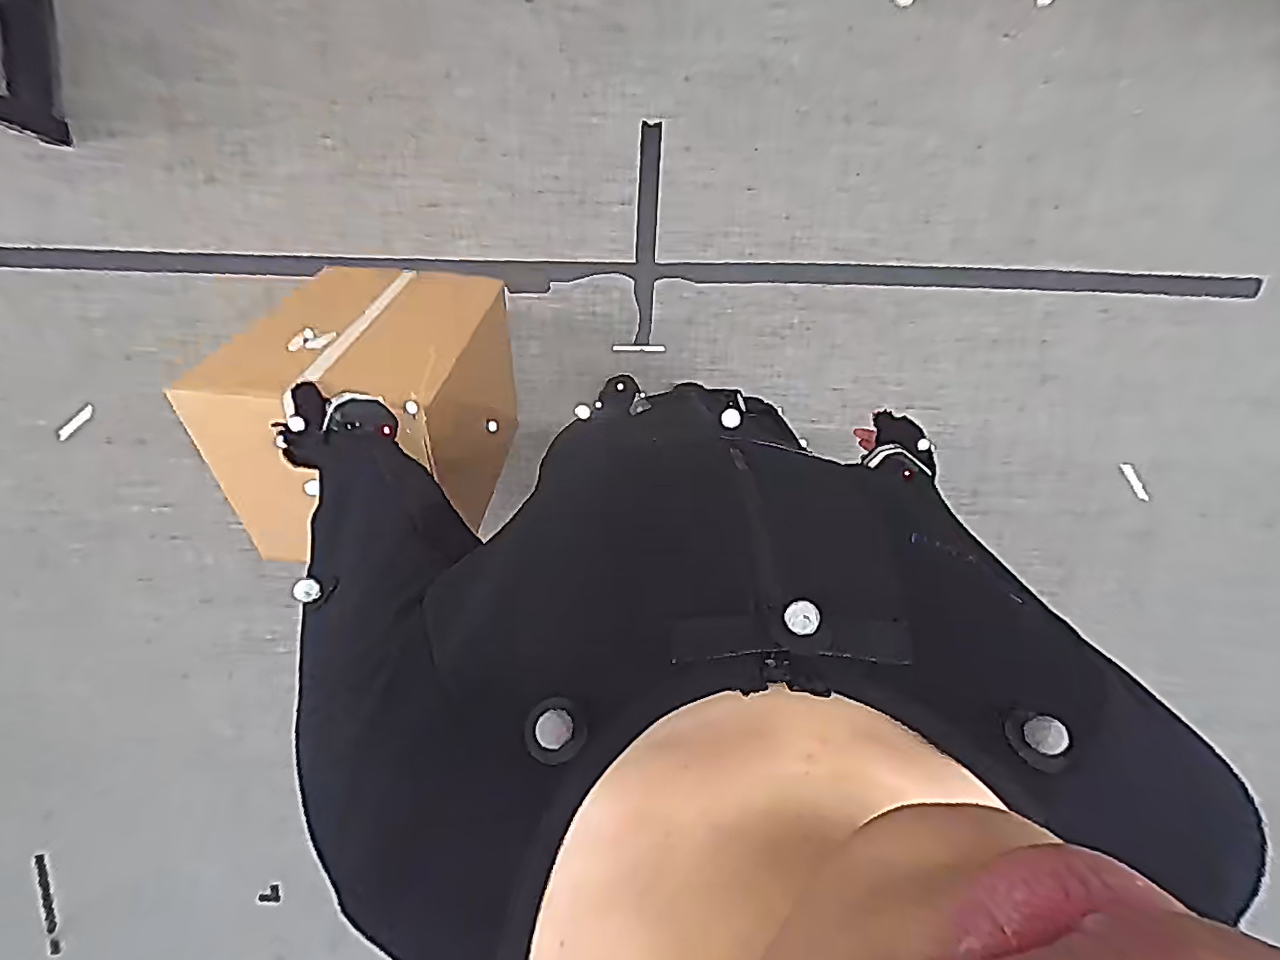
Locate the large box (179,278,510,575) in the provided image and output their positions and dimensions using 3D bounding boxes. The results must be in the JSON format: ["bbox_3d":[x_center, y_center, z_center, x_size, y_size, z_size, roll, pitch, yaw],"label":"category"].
[{"bbox_3d":[-0.419,-0.100,0.906,0.320,0.408,0.320,3,132,0],"label":"large box"}]
